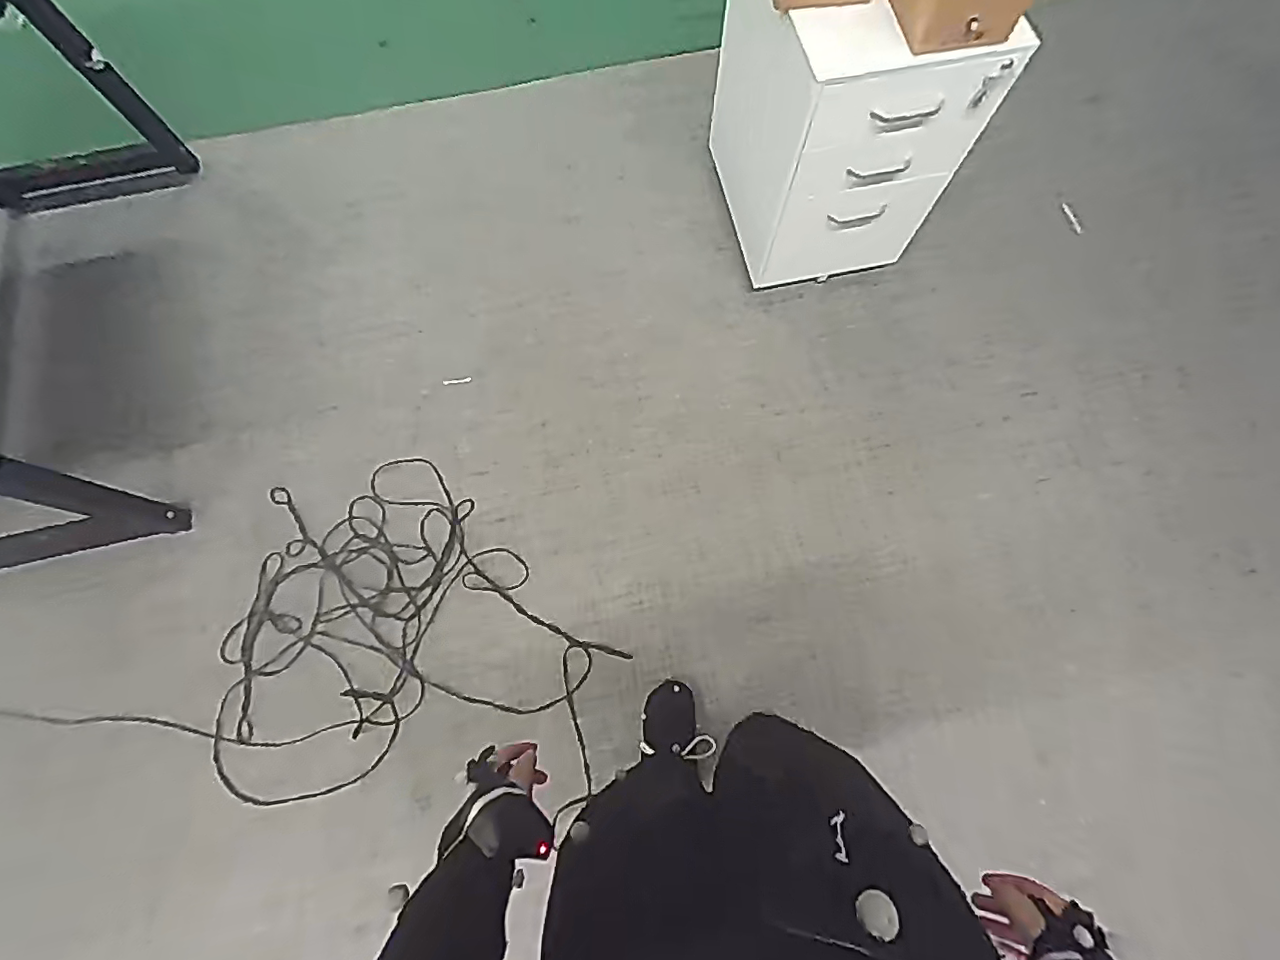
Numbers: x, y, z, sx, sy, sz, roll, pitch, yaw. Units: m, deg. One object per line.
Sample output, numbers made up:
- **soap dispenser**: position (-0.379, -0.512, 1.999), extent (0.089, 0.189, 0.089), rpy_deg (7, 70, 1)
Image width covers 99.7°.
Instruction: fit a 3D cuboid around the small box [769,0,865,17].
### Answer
- **small box**: position (0.314, -0.923, 0.904), extent (0.179, 0.176, 0.168), rpy_deg (-7, 71, -2)
